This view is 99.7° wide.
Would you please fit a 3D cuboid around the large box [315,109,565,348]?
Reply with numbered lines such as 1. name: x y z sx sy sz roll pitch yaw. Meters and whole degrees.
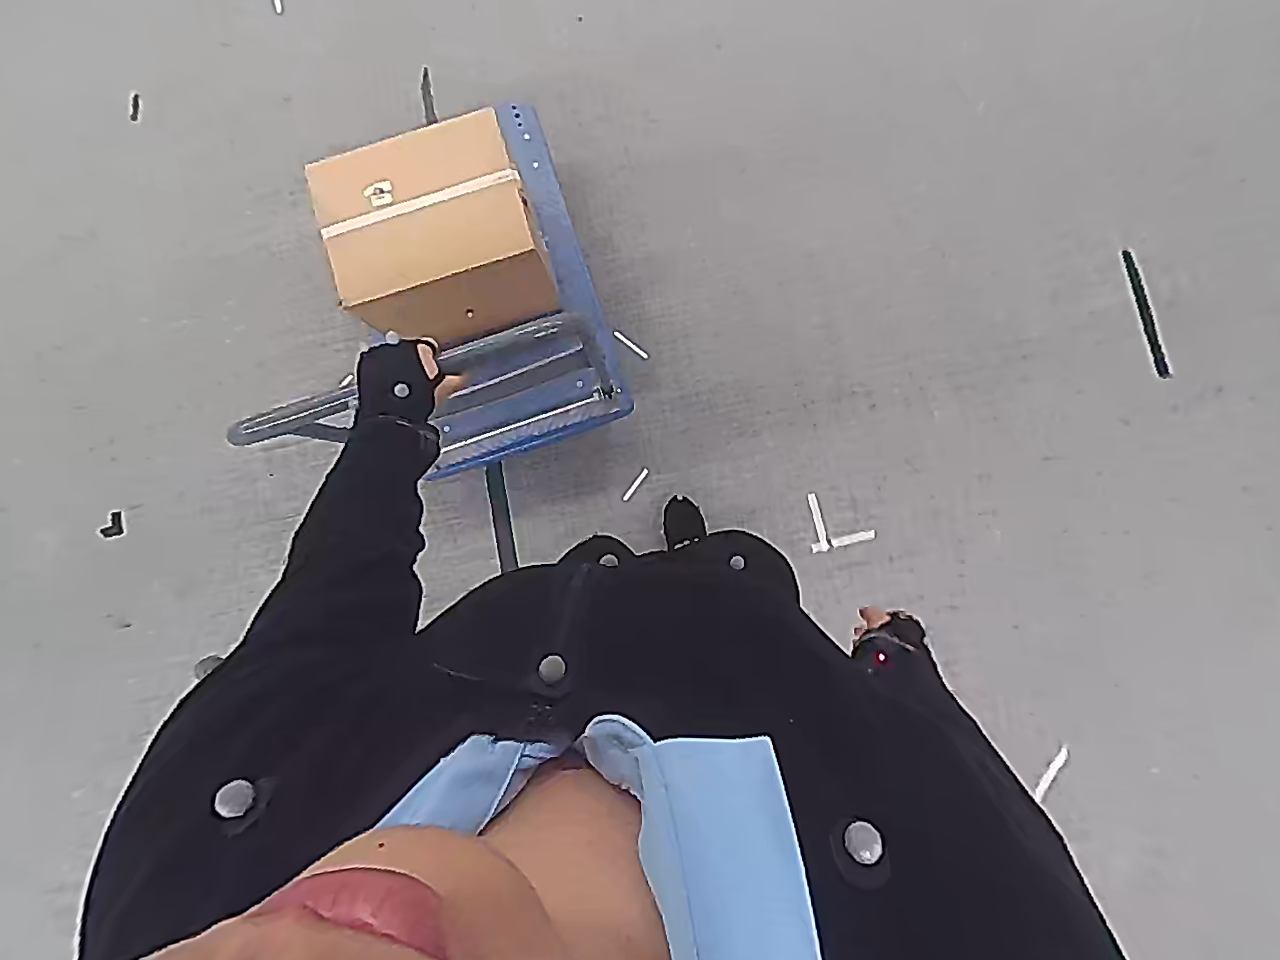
1. large box: -0.428 -0.543 1.241 0.408 0.320 0.320 -17 85 2
